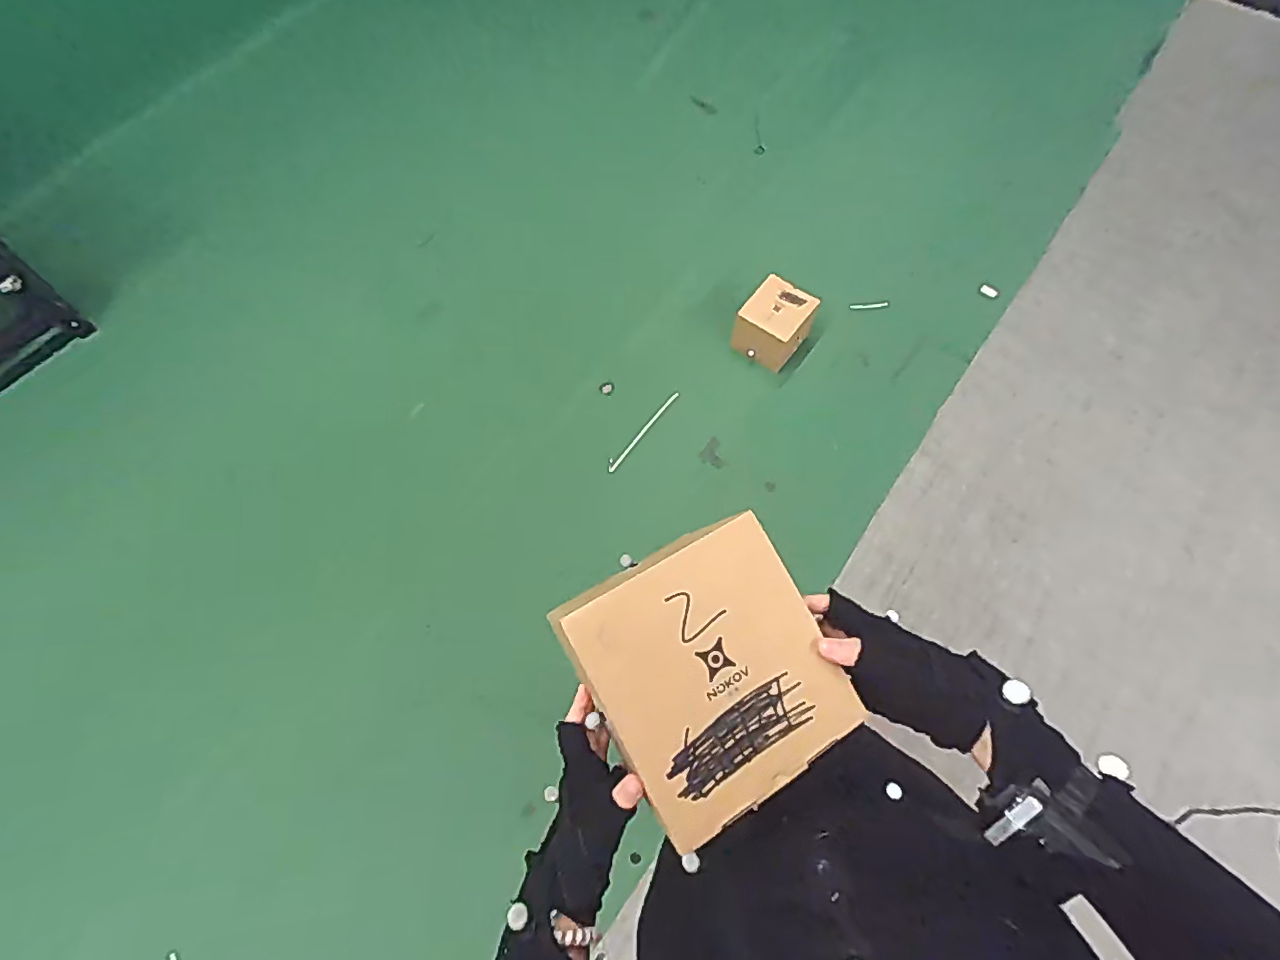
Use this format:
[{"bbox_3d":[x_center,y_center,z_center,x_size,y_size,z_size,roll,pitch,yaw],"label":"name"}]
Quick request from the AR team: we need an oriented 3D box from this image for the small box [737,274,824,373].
[{"bbox_3d":[0.396,-0.448,1.563,0.168,0.176,0.179,36,75,15],"label":"small box"}]
